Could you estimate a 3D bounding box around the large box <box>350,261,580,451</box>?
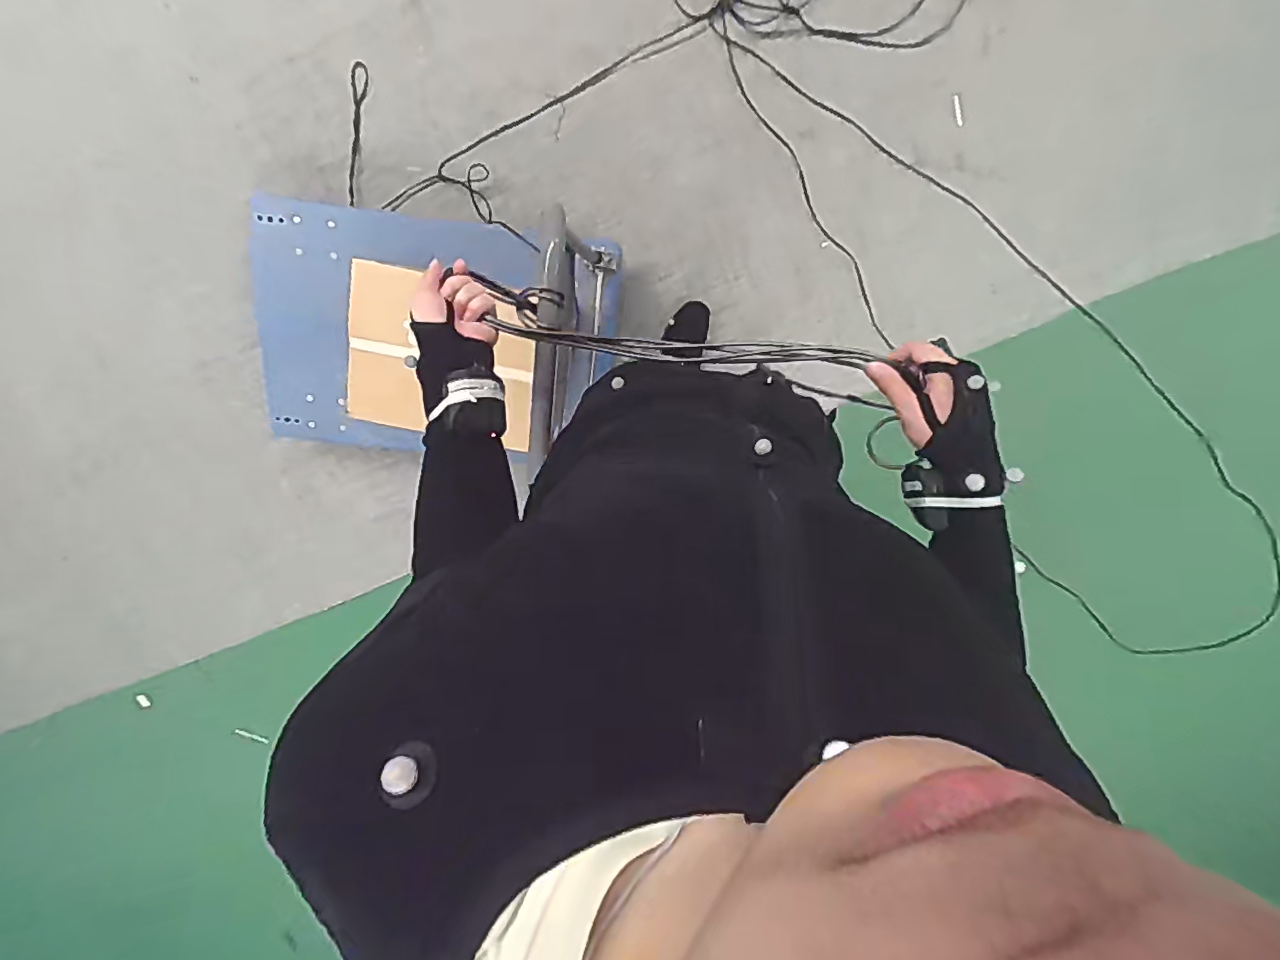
[{"bbox_3d":[-0.364,-0.281,1.203,0.408,0.320,0.320,11,107,-3],"label":"large box"}]
